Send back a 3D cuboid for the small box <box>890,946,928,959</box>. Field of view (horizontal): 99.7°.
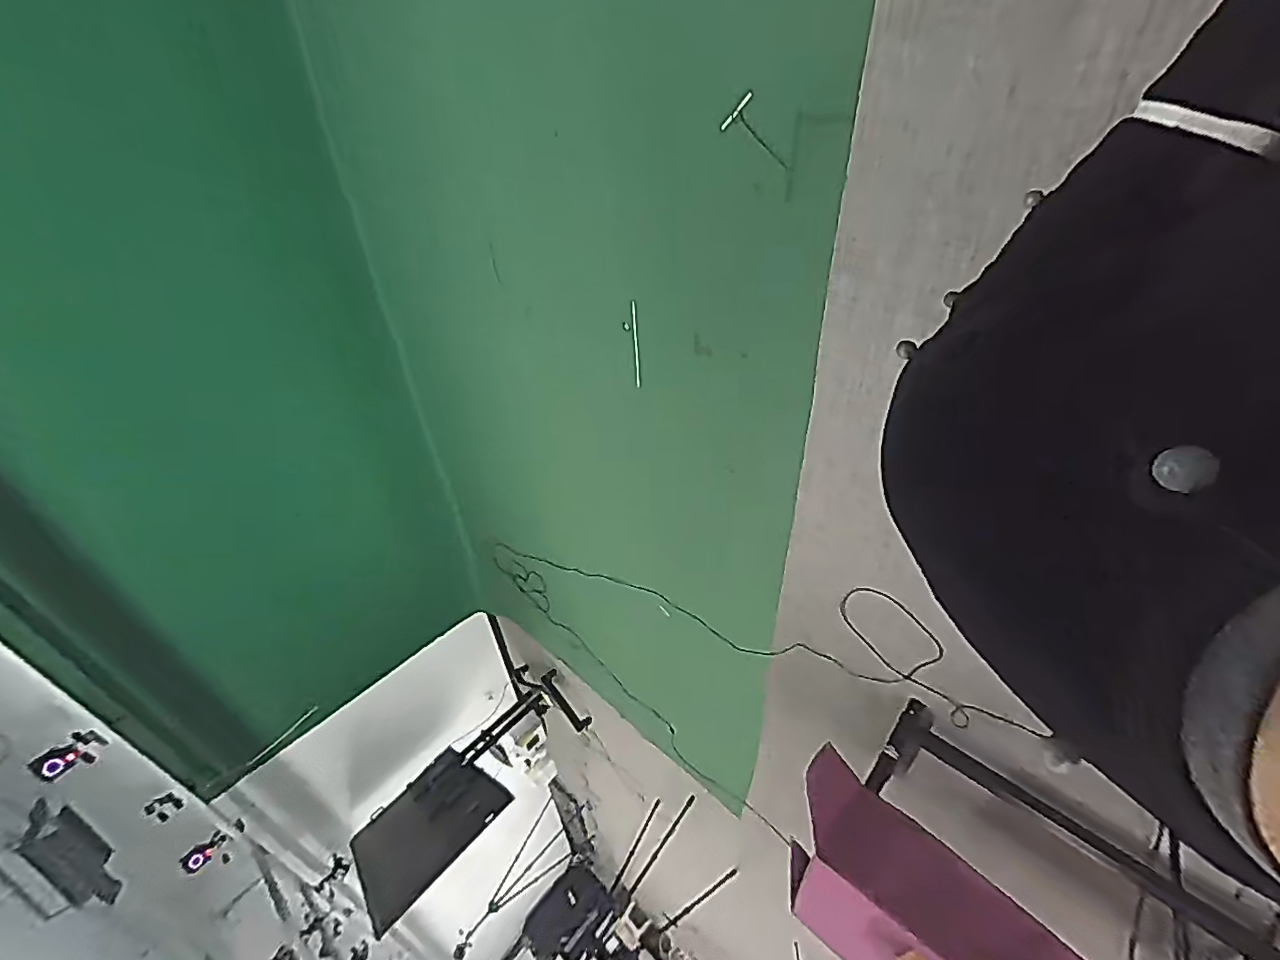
[{"bbox_3d":[0.778,1.465,1.517,0.168,0.176,0.179,32,140,30],"label":"small box"}]
